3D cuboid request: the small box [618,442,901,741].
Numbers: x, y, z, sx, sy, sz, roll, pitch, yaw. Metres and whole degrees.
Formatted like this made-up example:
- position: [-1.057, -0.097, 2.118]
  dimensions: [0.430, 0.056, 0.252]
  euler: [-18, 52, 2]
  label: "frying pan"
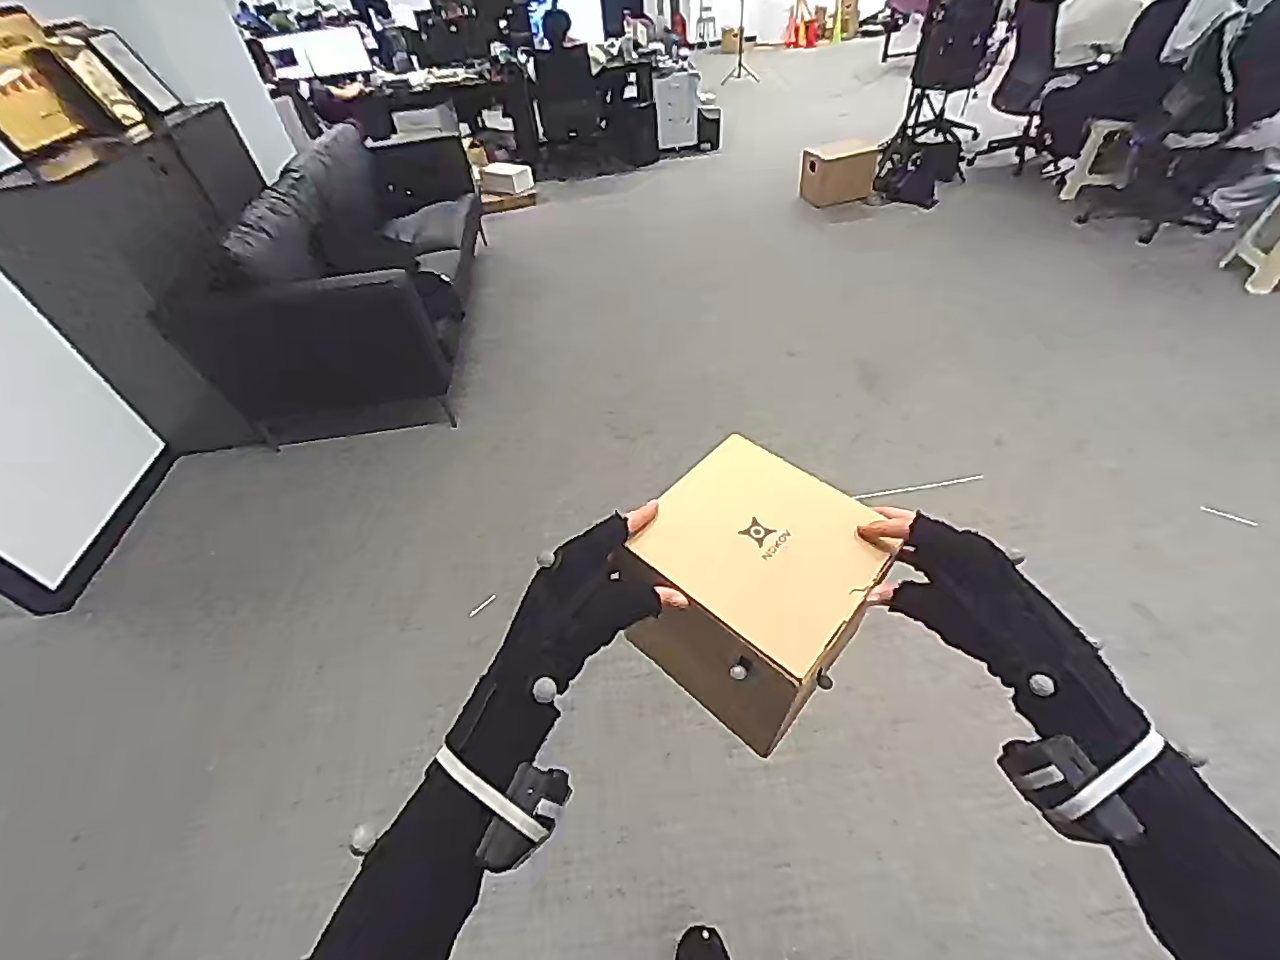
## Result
- position: [0.096, 0.103, 0.500]
  dimensions: [0.179, 0.176, 0.168]
  euler: [35, 57, 27]
  label: "small box"
